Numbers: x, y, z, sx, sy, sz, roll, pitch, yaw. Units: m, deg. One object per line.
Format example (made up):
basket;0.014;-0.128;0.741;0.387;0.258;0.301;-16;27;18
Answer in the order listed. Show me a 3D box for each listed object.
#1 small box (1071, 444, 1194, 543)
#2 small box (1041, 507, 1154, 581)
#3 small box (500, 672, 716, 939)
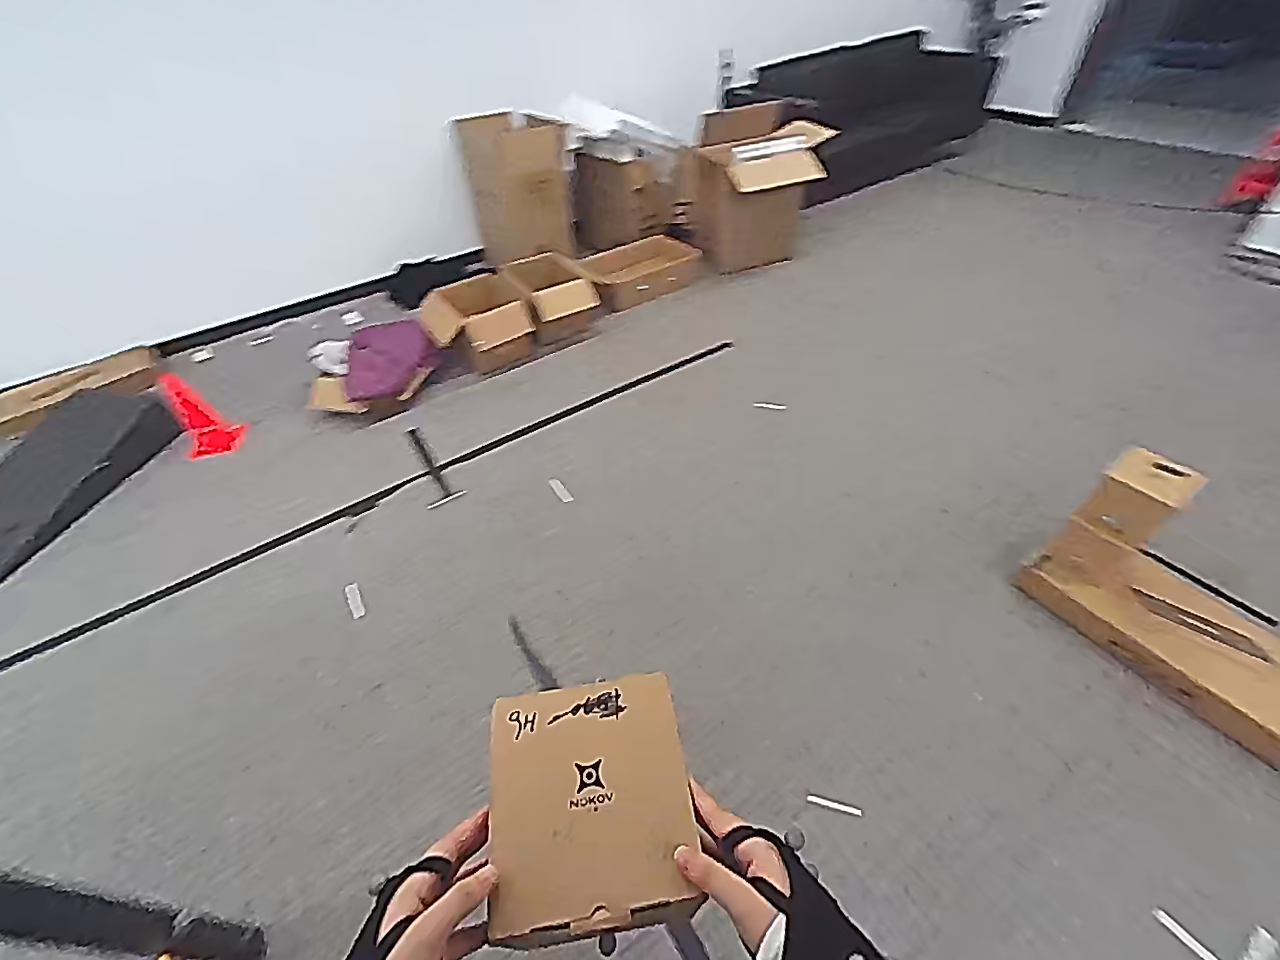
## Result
small box;1.341;0.037;1.485;0.179;0.176;0.168;-29;50;-23
small box;1.337;0.161;1.593;0.179;0.176;0.168;-28;49;-22
small box;-0.030;0.308;0.511;0.168;0.176;0.179;-7;49;-5
